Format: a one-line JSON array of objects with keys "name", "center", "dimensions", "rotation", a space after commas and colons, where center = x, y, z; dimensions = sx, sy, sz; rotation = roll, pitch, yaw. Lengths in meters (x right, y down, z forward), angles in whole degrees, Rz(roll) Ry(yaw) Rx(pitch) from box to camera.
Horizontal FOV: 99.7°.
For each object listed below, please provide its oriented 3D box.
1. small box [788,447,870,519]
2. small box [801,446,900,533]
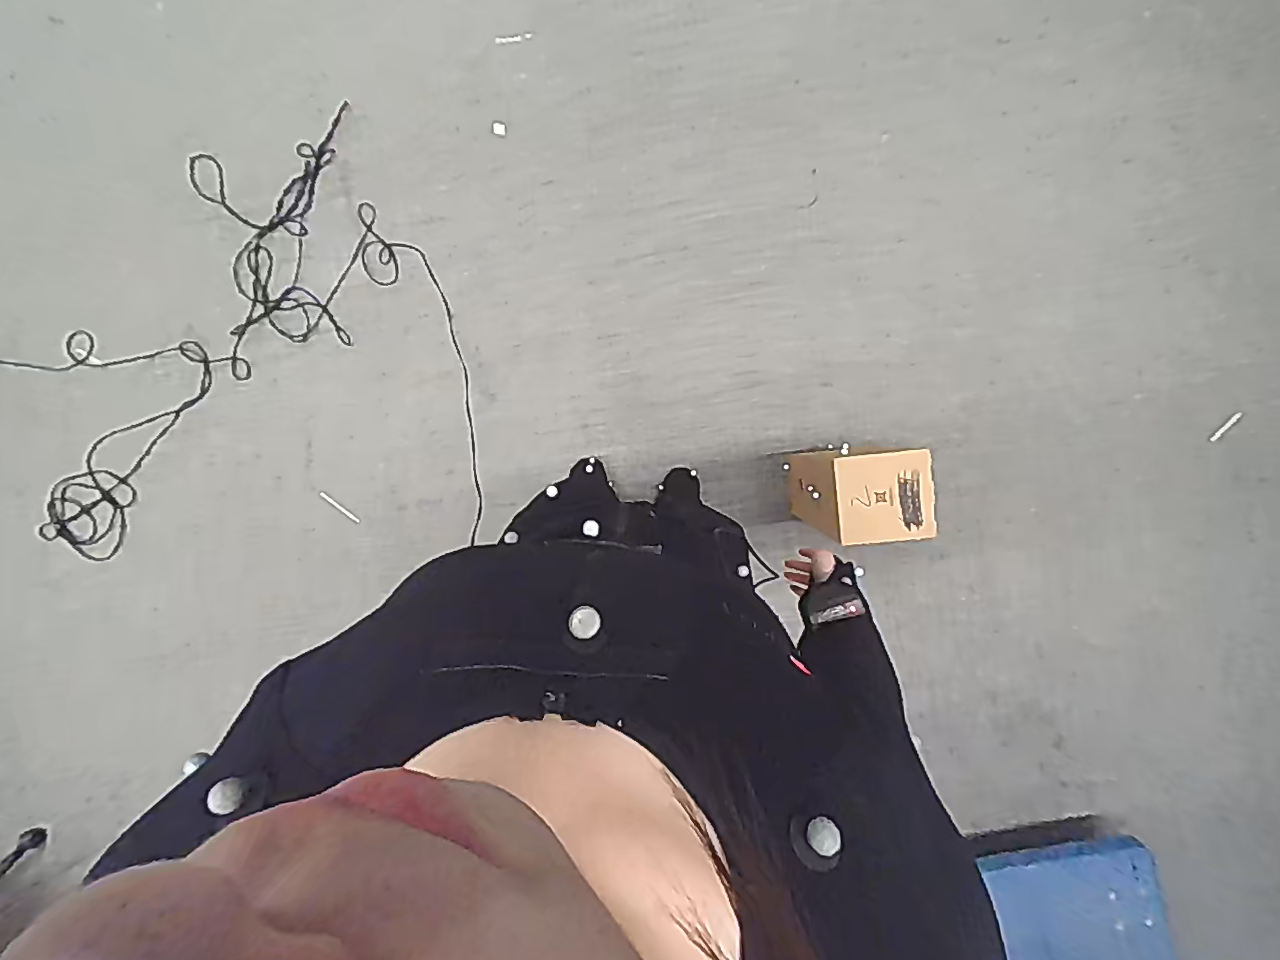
[{"name": "small box", "center": [0.487, 0.005, 1.396], "dimensions": [0.179, 0.176, 0.168], "rotation": [-6, 93, 3]}, {"name": "small box", "center": [0.471, 0.018, 1.233], "dimensions": [0.168, 0.176, 0.179], "rotation": [-6, 93, 5]}]
